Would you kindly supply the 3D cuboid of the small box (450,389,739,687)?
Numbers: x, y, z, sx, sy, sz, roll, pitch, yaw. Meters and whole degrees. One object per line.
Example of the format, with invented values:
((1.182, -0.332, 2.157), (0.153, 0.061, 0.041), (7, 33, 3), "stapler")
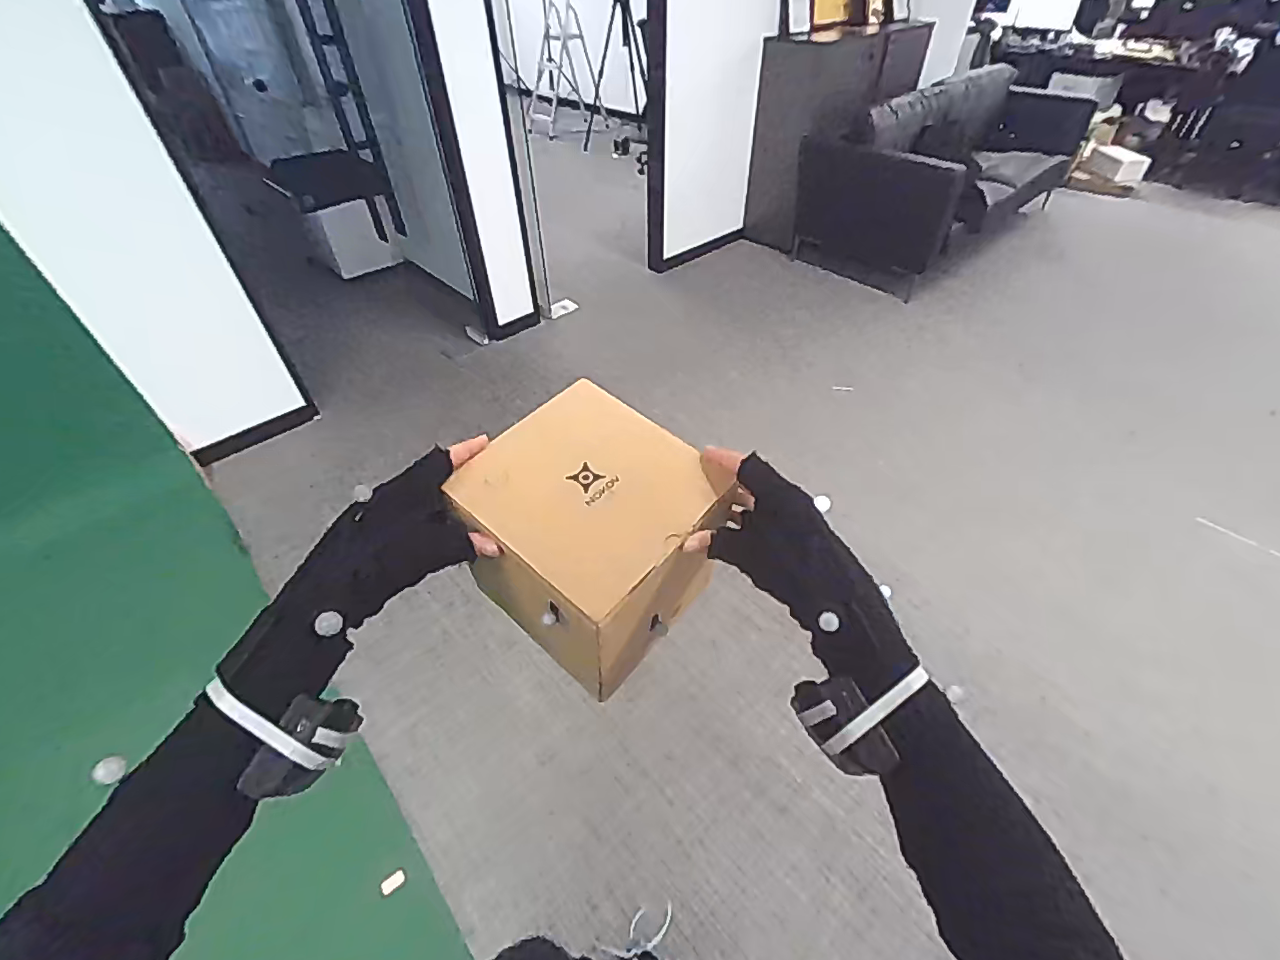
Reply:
((-0.040, 0.055, 0.494), (0.179, 0.176, 0.168), (36, 58, 22), "small box")
